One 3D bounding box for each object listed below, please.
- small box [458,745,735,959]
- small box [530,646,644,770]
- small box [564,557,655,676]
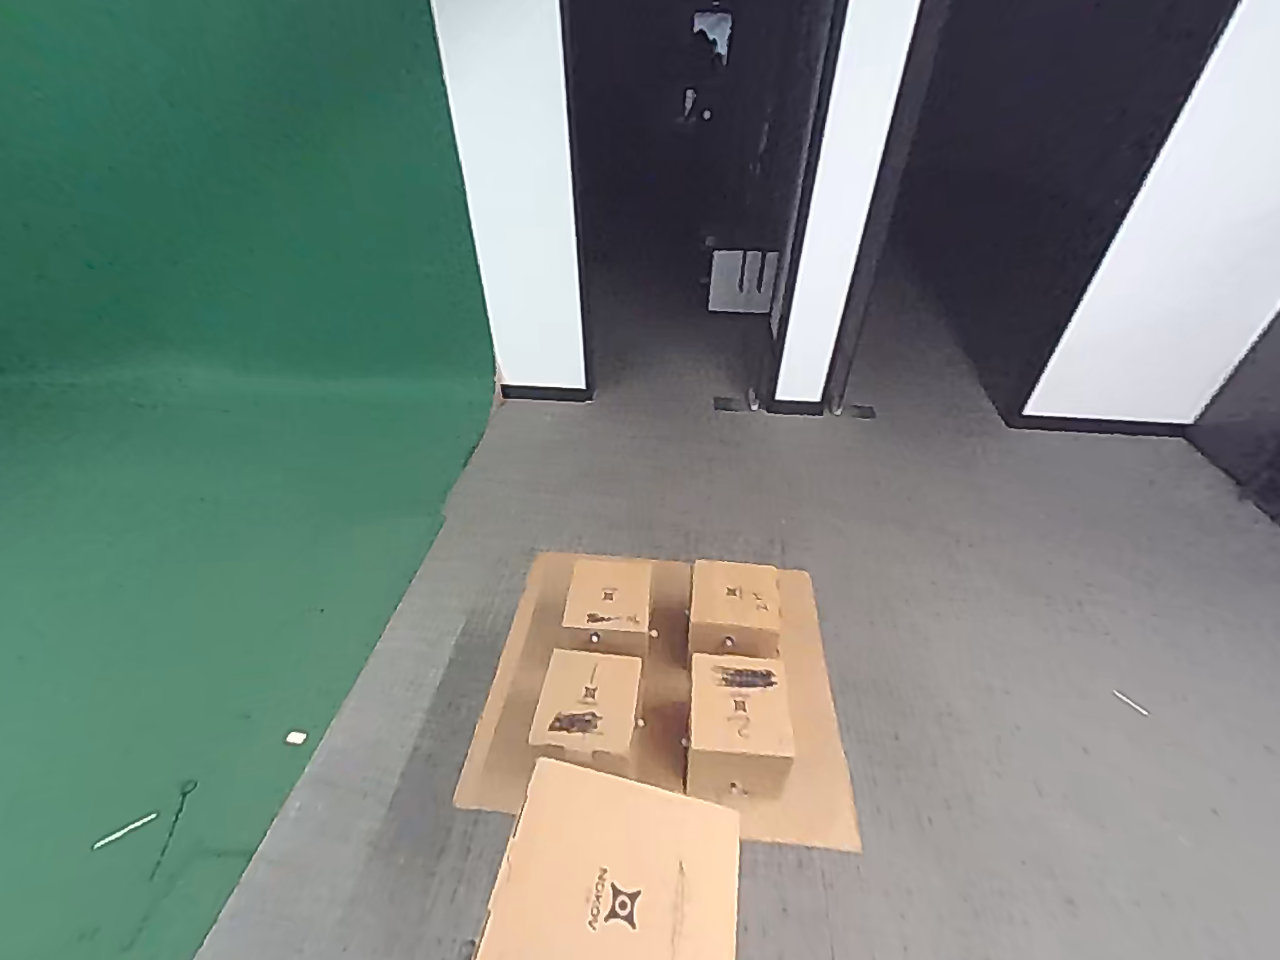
[{"bbox_3d":[-0.034,0.353,0.442,0.179,0.176,0.168,15,41,2],"label":"small box"},{"bbox_3d":[-0.084,0.426,0.967,0.168,0.176,0.179,4,39,6],"label":"small box"},{"bbox_3d":[-0.057,0.286,1.137,0.168,0.176,0.179,2,38,5],"label":"small box"}]
